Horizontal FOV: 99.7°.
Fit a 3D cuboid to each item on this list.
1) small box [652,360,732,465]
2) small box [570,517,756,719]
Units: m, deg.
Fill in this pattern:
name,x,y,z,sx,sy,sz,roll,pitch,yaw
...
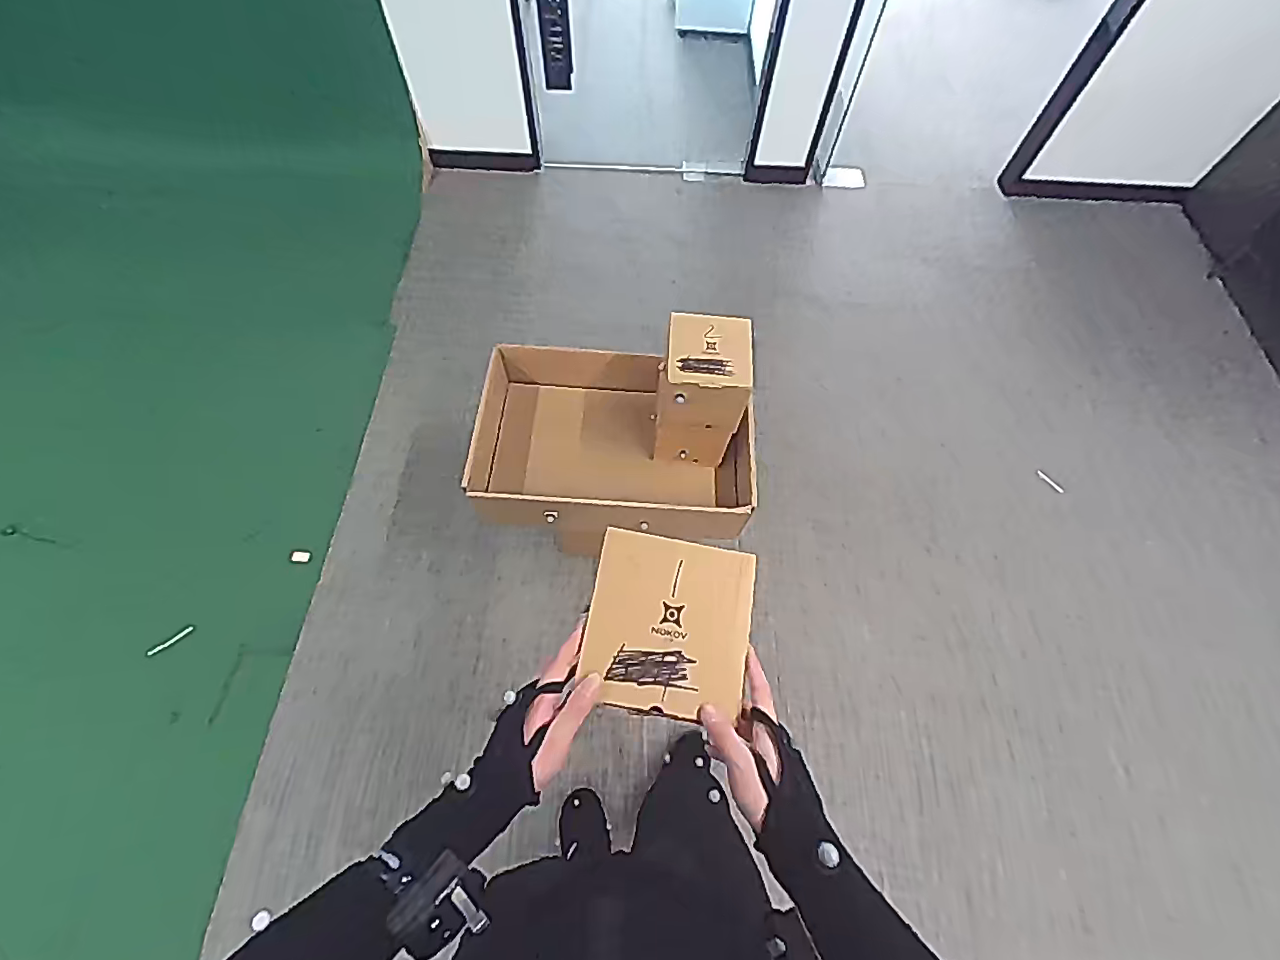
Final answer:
name,x,y,z,sx,sy,sz,roll,pitch,yaw
small box,0.119,-0.156,1.279,0.168,0.176,0.179,5,64,-1
small box,0.022,0.163,0.620,0.168,0.176,0.179,12,67,-1
